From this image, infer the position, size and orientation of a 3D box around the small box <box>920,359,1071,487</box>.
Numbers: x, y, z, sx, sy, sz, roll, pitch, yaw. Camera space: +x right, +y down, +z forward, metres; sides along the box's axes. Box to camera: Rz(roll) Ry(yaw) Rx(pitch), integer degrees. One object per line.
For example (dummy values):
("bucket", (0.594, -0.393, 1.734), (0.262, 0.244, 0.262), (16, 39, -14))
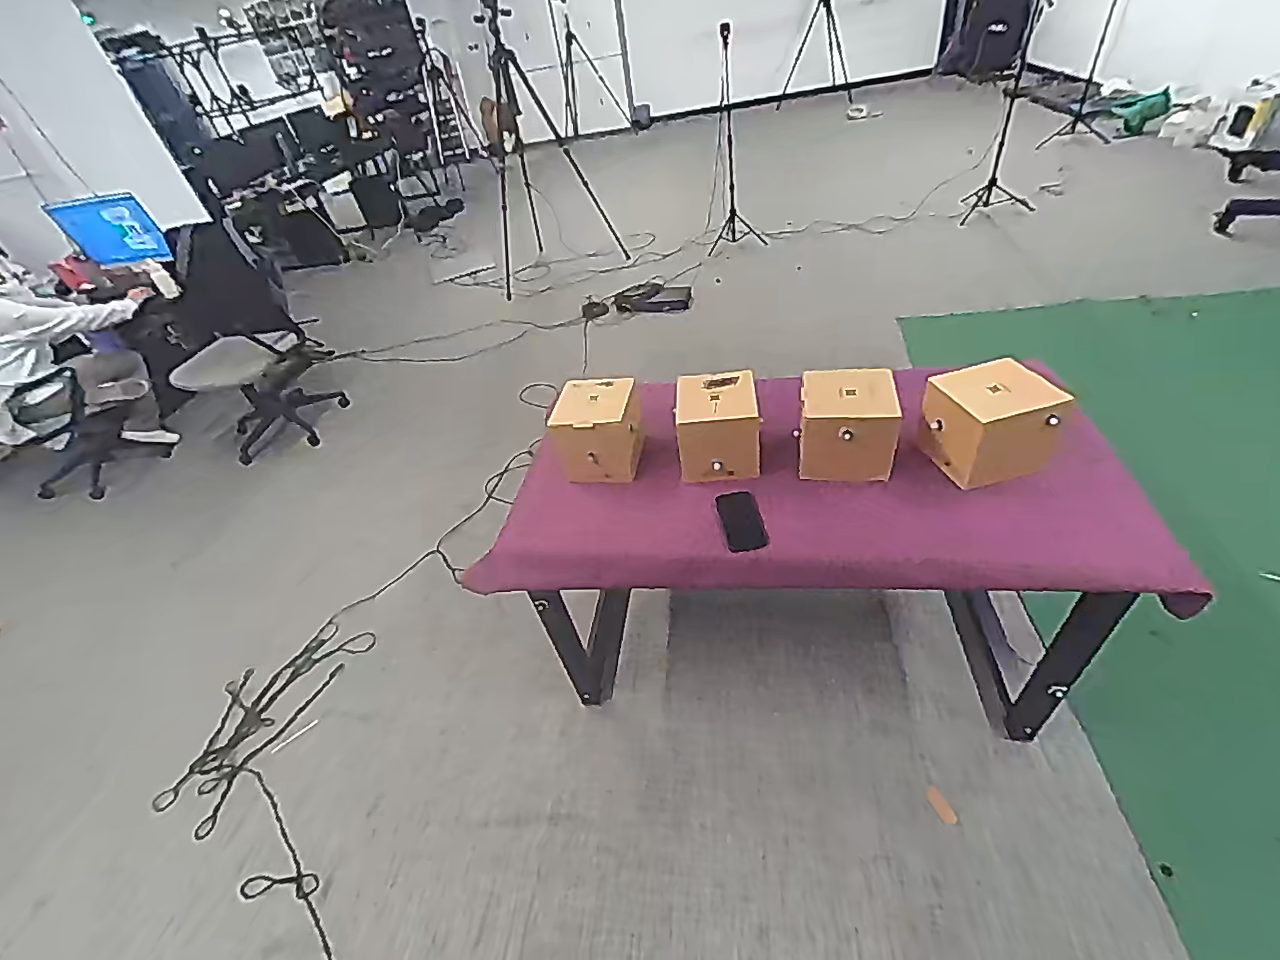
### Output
("small box", (0.672, -0.109, 1.053), (0.179, 0.176, 0.168), (-15, 40, -3))

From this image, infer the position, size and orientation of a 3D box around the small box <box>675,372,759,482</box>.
("small box", (0.170, -0.115, 1.183), (0.168, 0.176, 0.179), (-4, 42, 10))

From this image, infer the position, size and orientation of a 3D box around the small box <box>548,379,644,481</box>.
("small box", (-0.091, -0.111, 1.242), (0.168, 0.176, 0.179), (0, 43, 13))

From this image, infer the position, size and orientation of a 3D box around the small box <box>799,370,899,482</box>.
("small box", (0.422, -0.111, 1.118), (0.179, 0.176, 0.168), (2, 44, 15))
